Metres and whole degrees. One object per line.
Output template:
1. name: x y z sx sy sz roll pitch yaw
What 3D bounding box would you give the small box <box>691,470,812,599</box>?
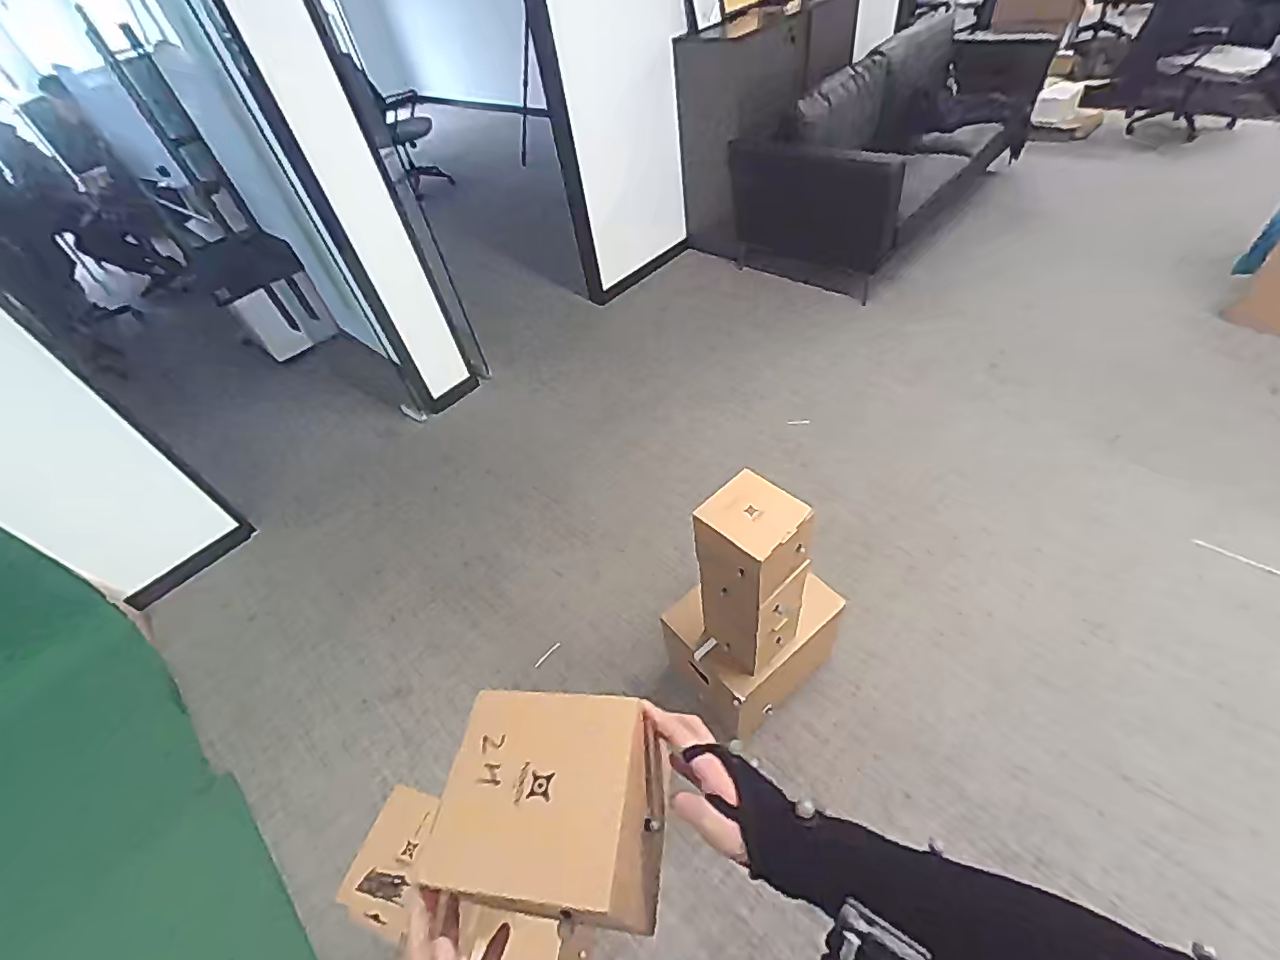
1. small box: 0.226 0.119 1.109 0.168 0.176 0.179 -37 51 -23

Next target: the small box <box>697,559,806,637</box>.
1. small box: 0.251 0.230 1.226 0.168 0.176 0.179 -37 52 -22

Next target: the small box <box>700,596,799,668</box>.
1. small box: 0.268 0.340 1.344 0.168 0.176 0.179 -36 53 -22

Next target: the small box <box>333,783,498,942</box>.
1. small box: -0.370 0.661 0.932 0.168 0.176 0.179 9 49 17
